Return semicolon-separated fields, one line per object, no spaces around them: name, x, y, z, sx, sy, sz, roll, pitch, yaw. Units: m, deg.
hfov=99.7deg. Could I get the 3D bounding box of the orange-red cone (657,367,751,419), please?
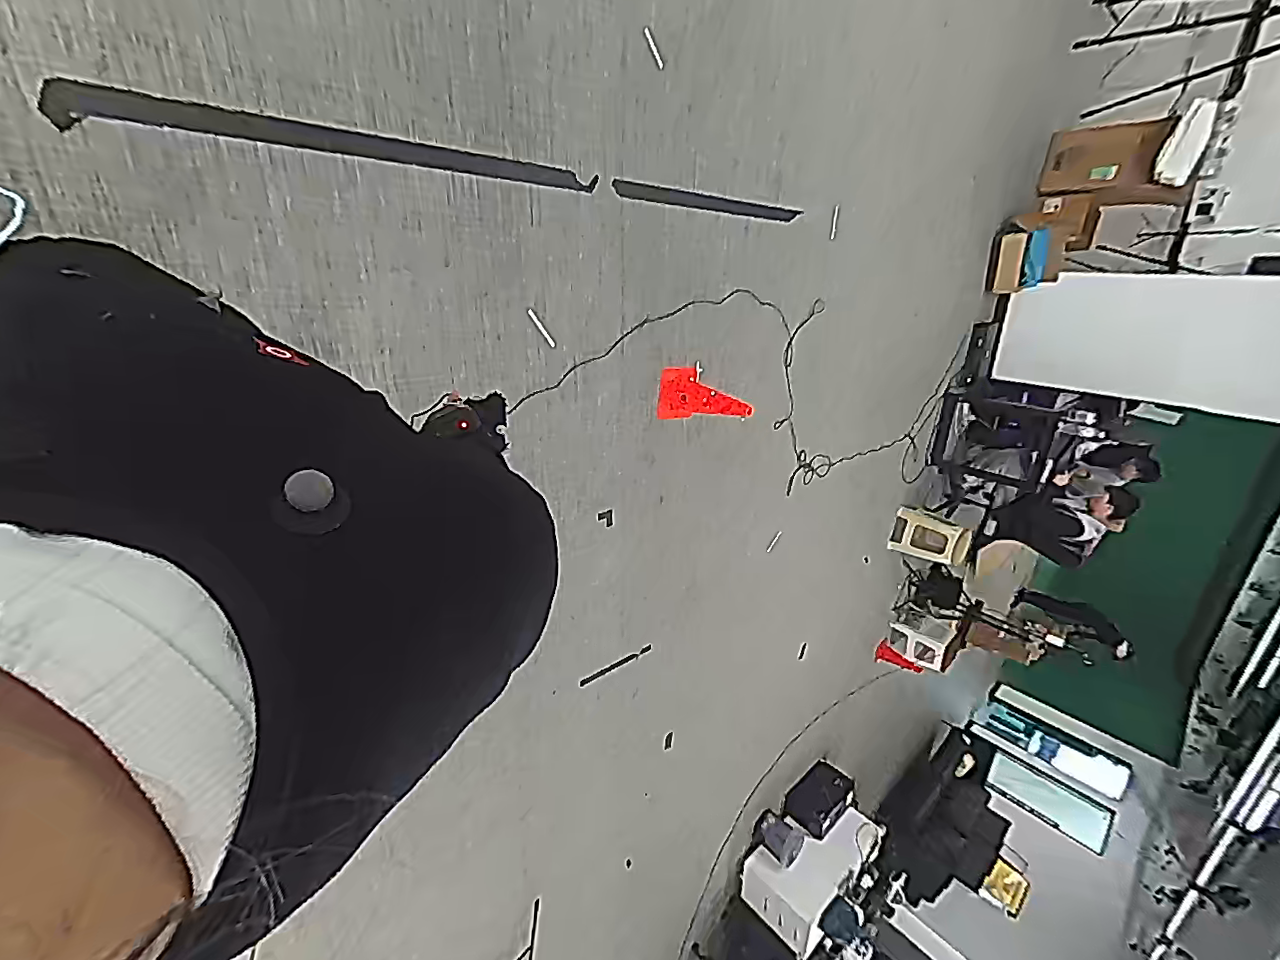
orange-red cone;0.256;-0.290;1.984;0.199;0.360;0.198;-7;111;-41
